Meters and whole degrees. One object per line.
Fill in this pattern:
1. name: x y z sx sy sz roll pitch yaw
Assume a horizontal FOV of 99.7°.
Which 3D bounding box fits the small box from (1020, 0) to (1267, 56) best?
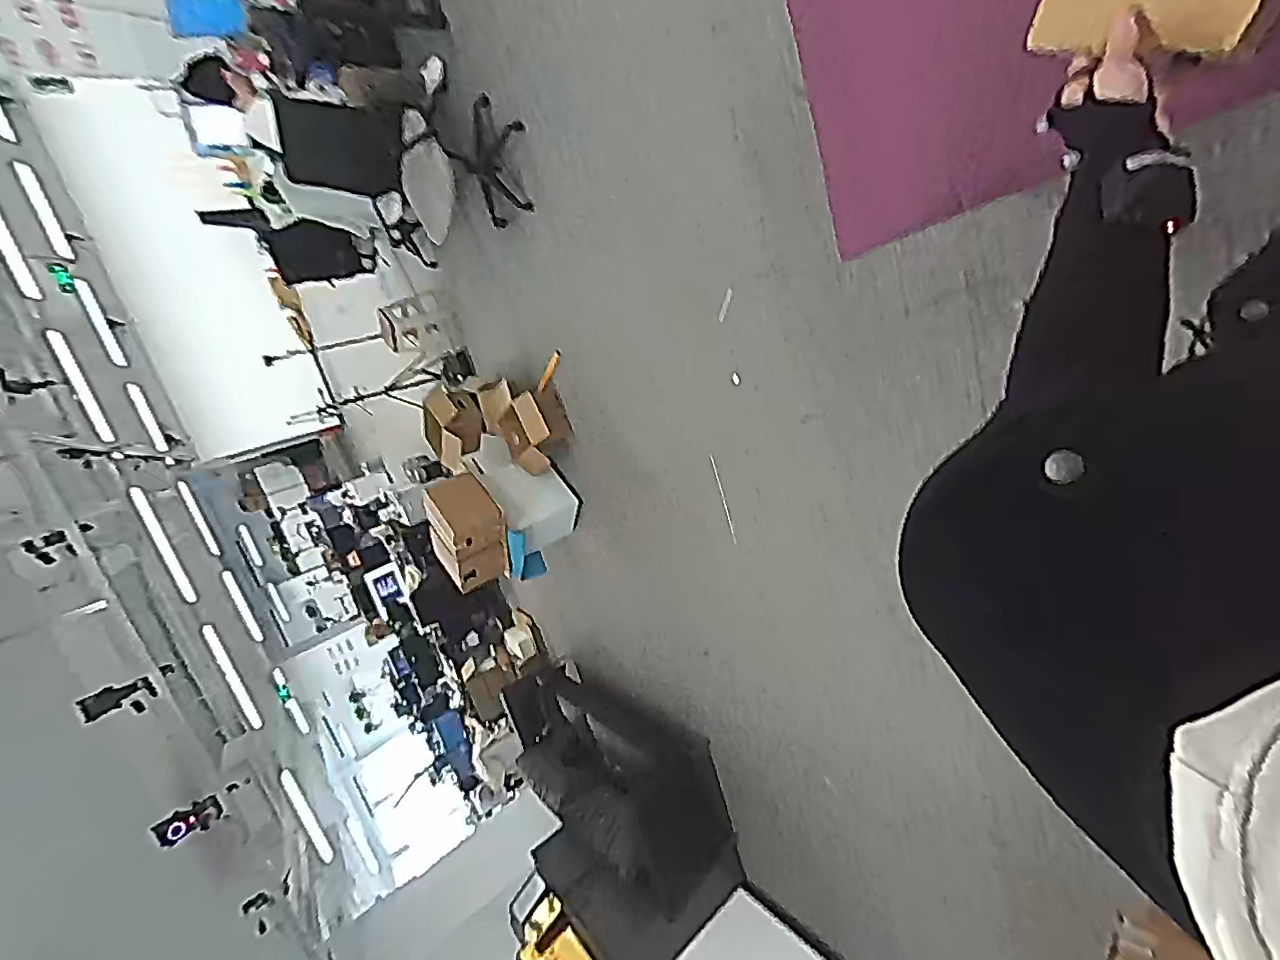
1. small box: 0.506 -0.511 0.503 0.168 0.176 0.179 34 138 32
